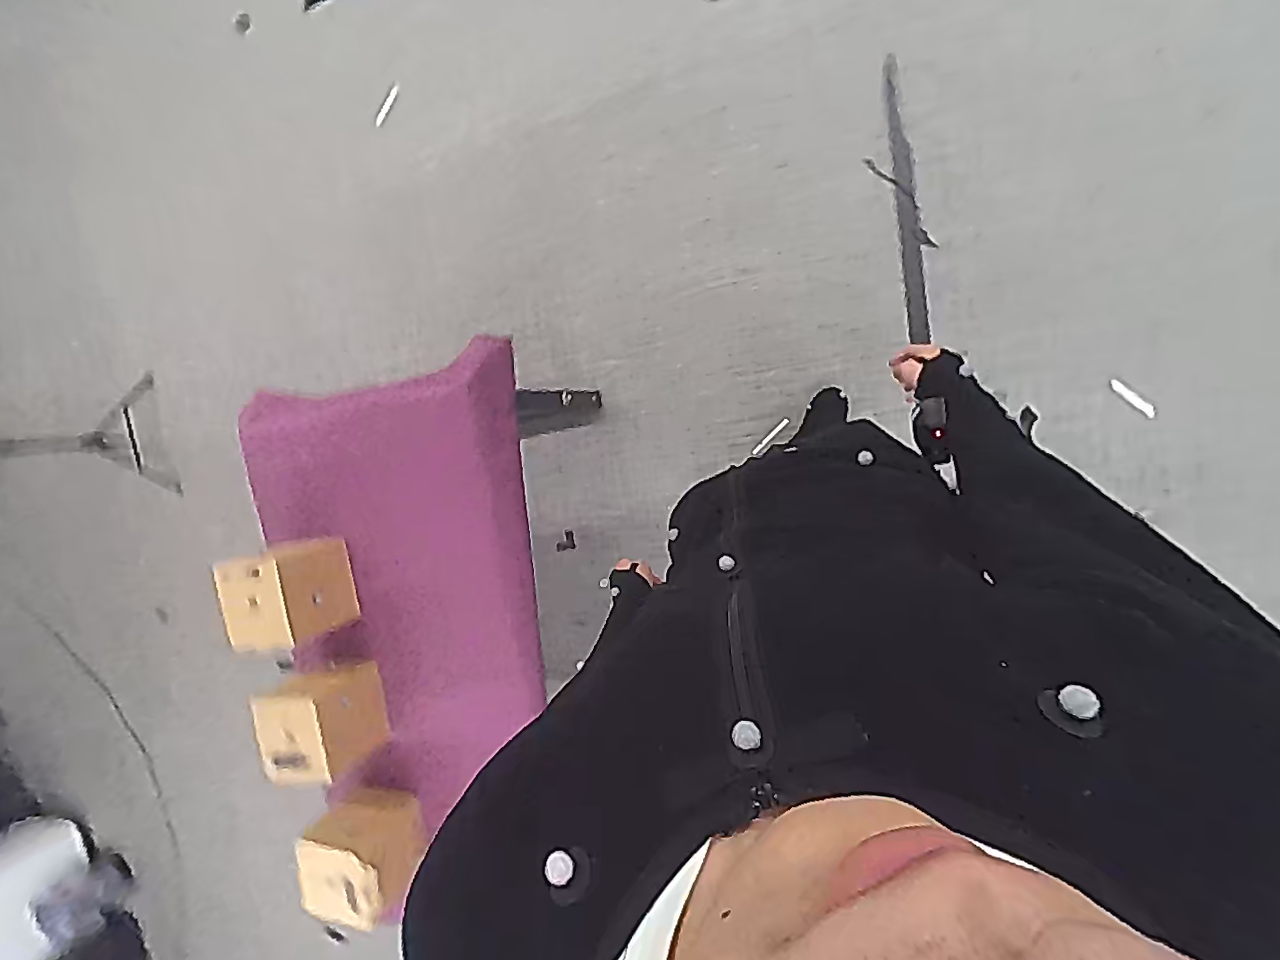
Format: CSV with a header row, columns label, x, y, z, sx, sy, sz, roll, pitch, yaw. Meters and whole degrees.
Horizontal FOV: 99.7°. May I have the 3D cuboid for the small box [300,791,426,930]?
label,x,y,z,sx,sy,sz,roll,pitch,yaw
small box,-0.580,0.802,1.158,0.179,0.176,0.168,-2,97,18
